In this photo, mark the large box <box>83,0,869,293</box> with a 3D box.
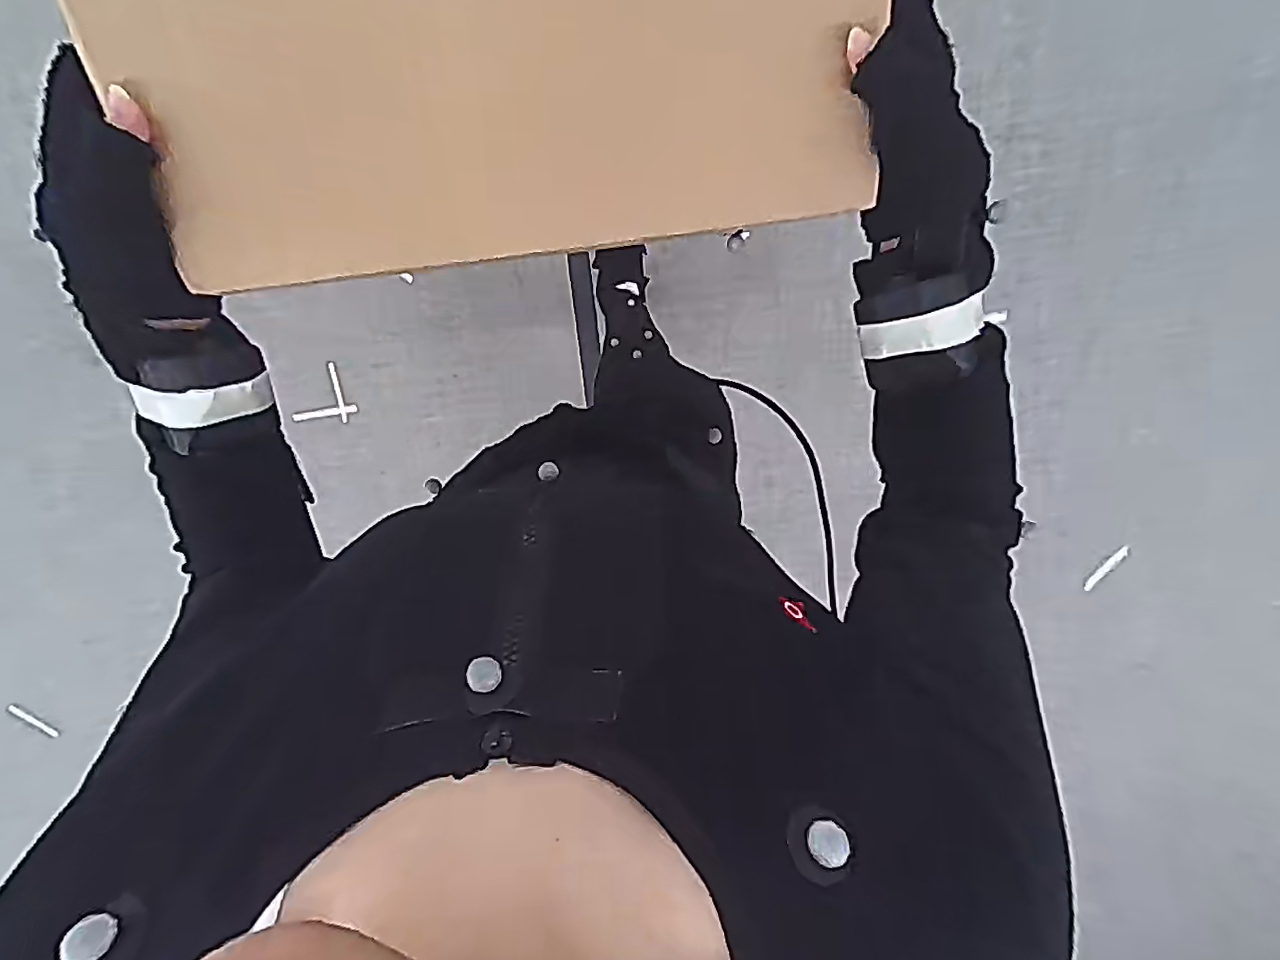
[{"bbox_3d":[-0.088,-0.341,0.397,0.408,0.320,0.320,-7,114,1],"label":"large box"}]
